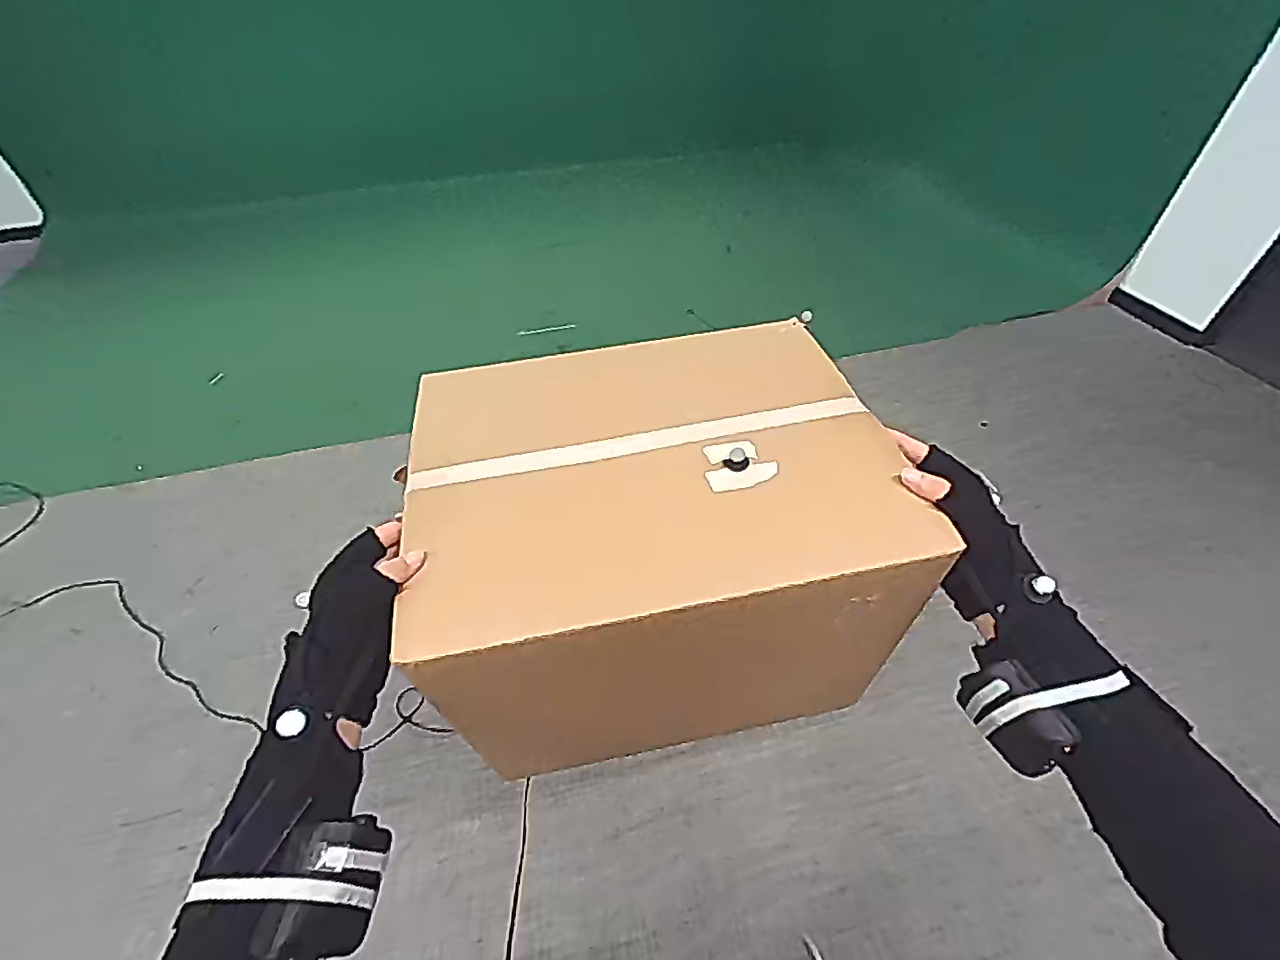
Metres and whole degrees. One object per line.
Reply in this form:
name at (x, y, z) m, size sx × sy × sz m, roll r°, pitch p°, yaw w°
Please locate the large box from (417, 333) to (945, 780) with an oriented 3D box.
large box at (0.013, 0.080, 0.592) m, size 0.408 × 0.320 × 0.320 m, roll -10°, pitch 49°, yaw -7°
